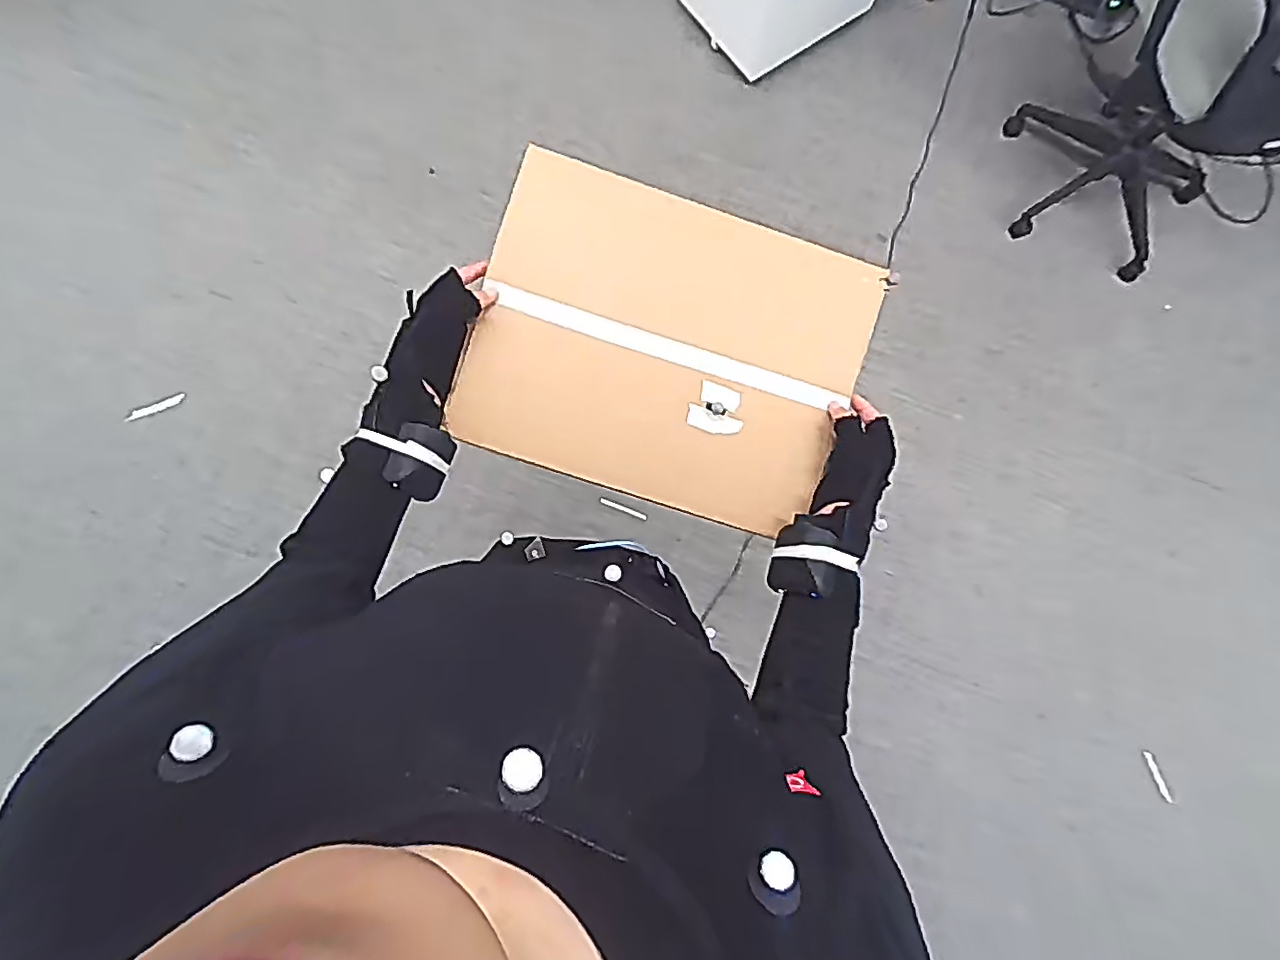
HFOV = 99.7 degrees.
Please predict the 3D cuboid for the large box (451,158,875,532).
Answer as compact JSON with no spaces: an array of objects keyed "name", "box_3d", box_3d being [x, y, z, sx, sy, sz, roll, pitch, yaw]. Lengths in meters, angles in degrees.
[{"name":"large box","box_3d":[0.019,-0.145,0.733,0.408,0.320,0.320,18,91,-4]}]
